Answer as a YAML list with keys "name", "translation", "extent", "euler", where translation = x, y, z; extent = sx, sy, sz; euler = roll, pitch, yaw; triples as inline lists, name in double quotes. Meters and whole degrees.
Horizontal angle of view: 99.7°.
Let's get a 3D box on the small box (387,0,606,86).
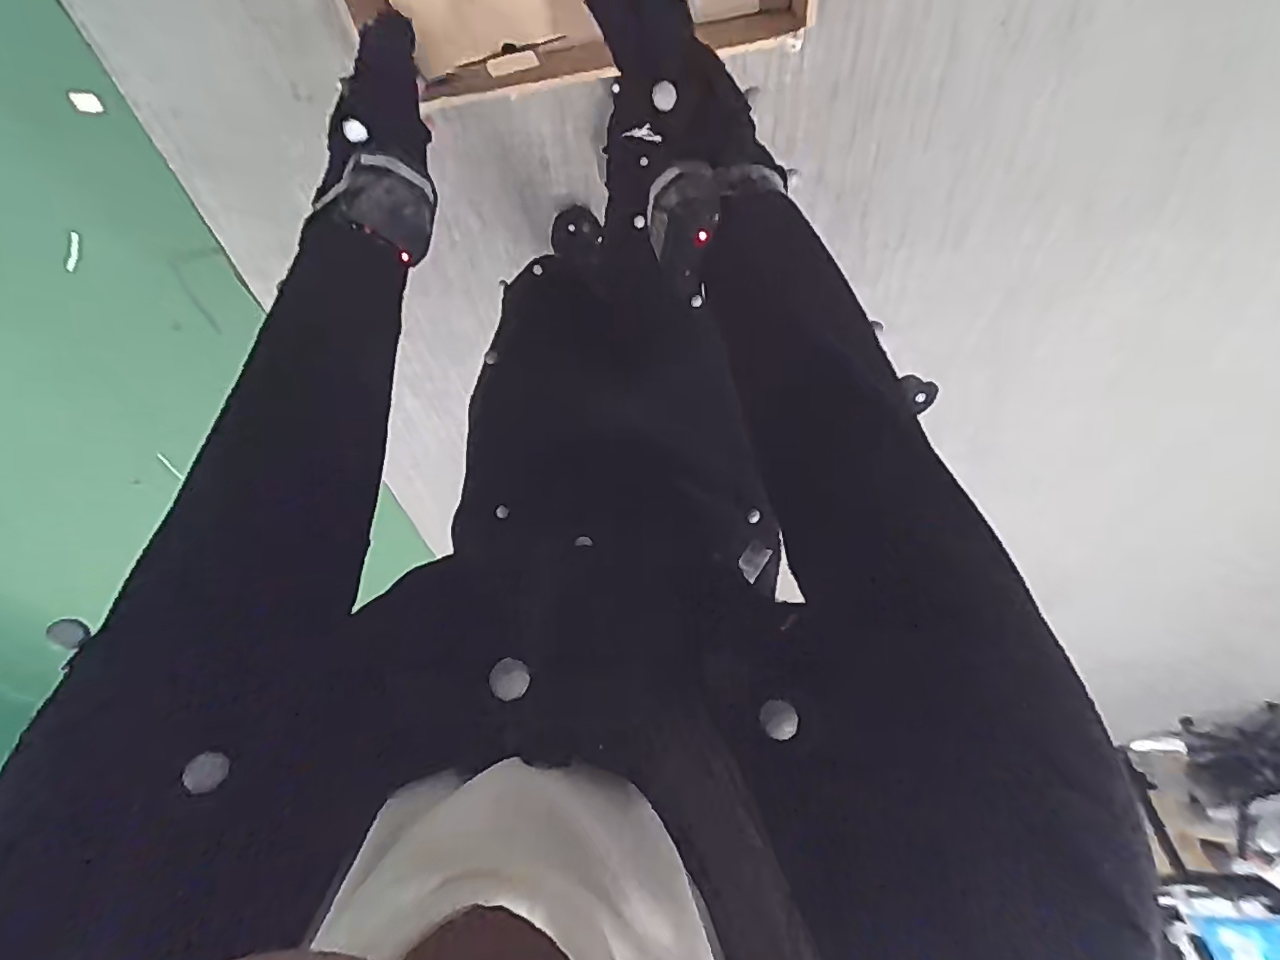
- name: "small box"
  translation: [-0.128, -0.476, 0.458]
  extent: [0.168, 0.176, 0.179]
  euler: [-7, 138, 9]
